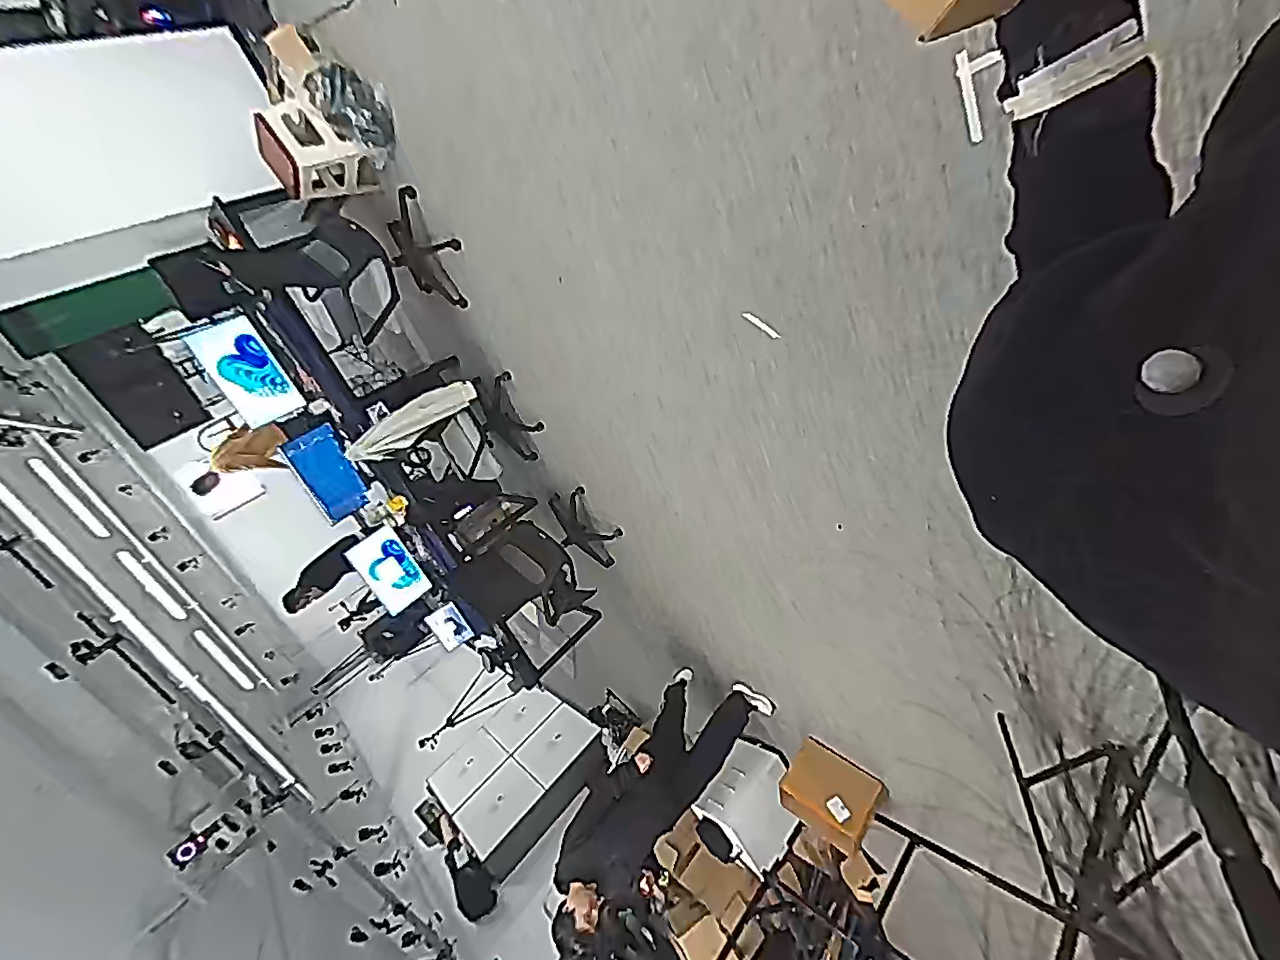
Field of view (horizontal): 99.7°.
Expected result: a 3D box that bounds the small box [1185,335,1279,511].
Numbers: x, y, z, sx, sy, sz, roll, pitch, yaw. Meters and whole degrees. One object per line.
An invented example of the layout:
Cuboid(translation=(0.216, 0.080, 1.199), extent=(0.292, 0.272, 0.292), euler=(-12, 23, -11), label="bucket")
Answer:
Cuboid(translation=(0.822, -0.076, 0.681), extent=(0.168, 0.176, 0.179), euler=(11, 131, 47), label="small box")

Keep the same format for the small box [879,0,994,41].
Cuboid(translation=(0.147, -0.330, 0.214), extent=(0.179, 0.176, 0.168), euler=(48, 145, 0), label="small box")
